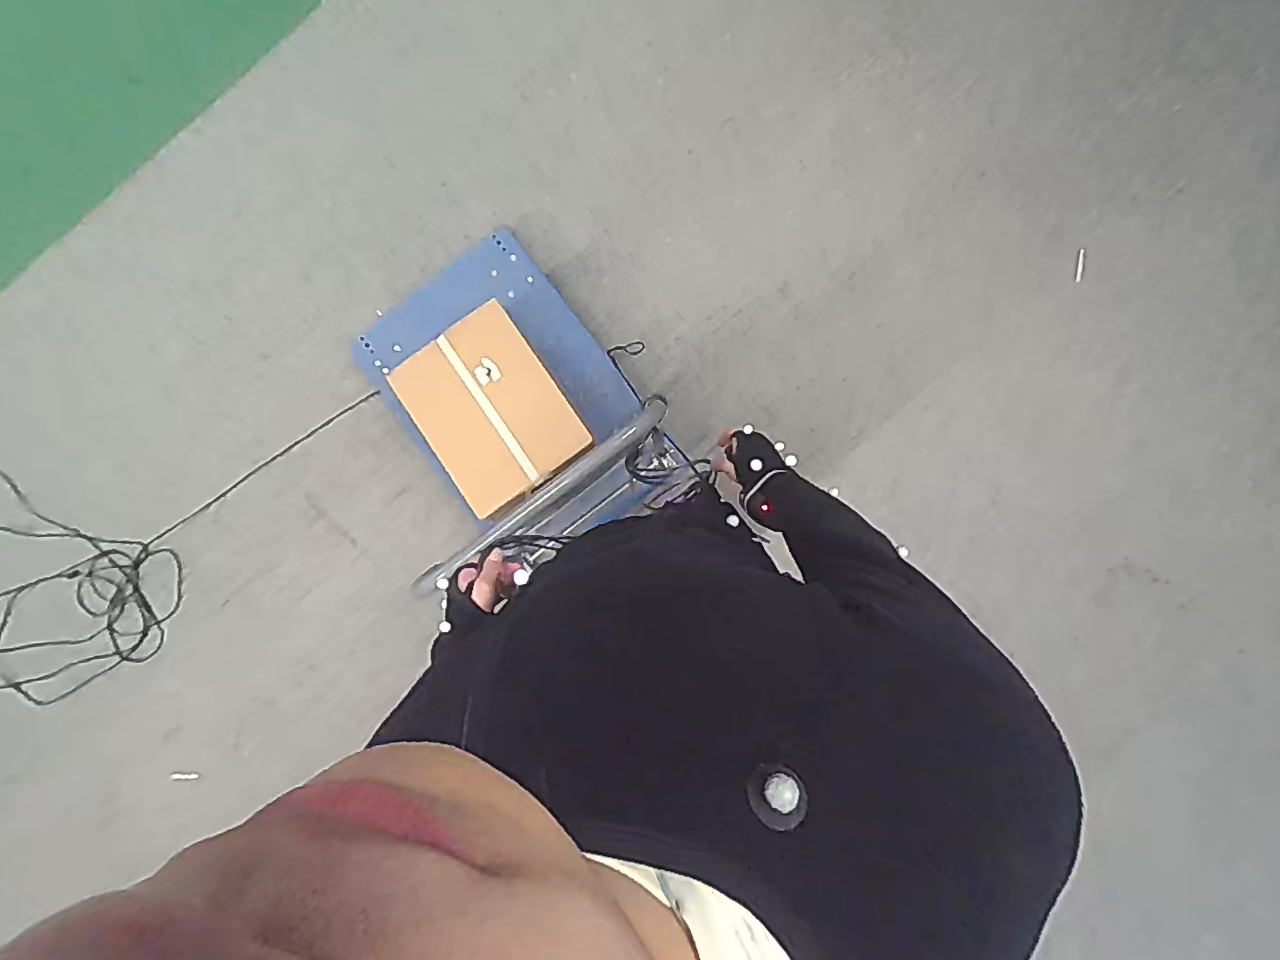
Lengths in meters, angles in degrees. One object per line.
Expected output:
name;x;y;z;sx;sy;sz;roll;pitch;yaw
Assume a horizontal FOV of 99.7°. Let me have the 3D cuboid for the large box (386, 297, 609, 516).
large box;-0.327;-0.159;1.347;0.320;0.320;0.408;-35;86;1
